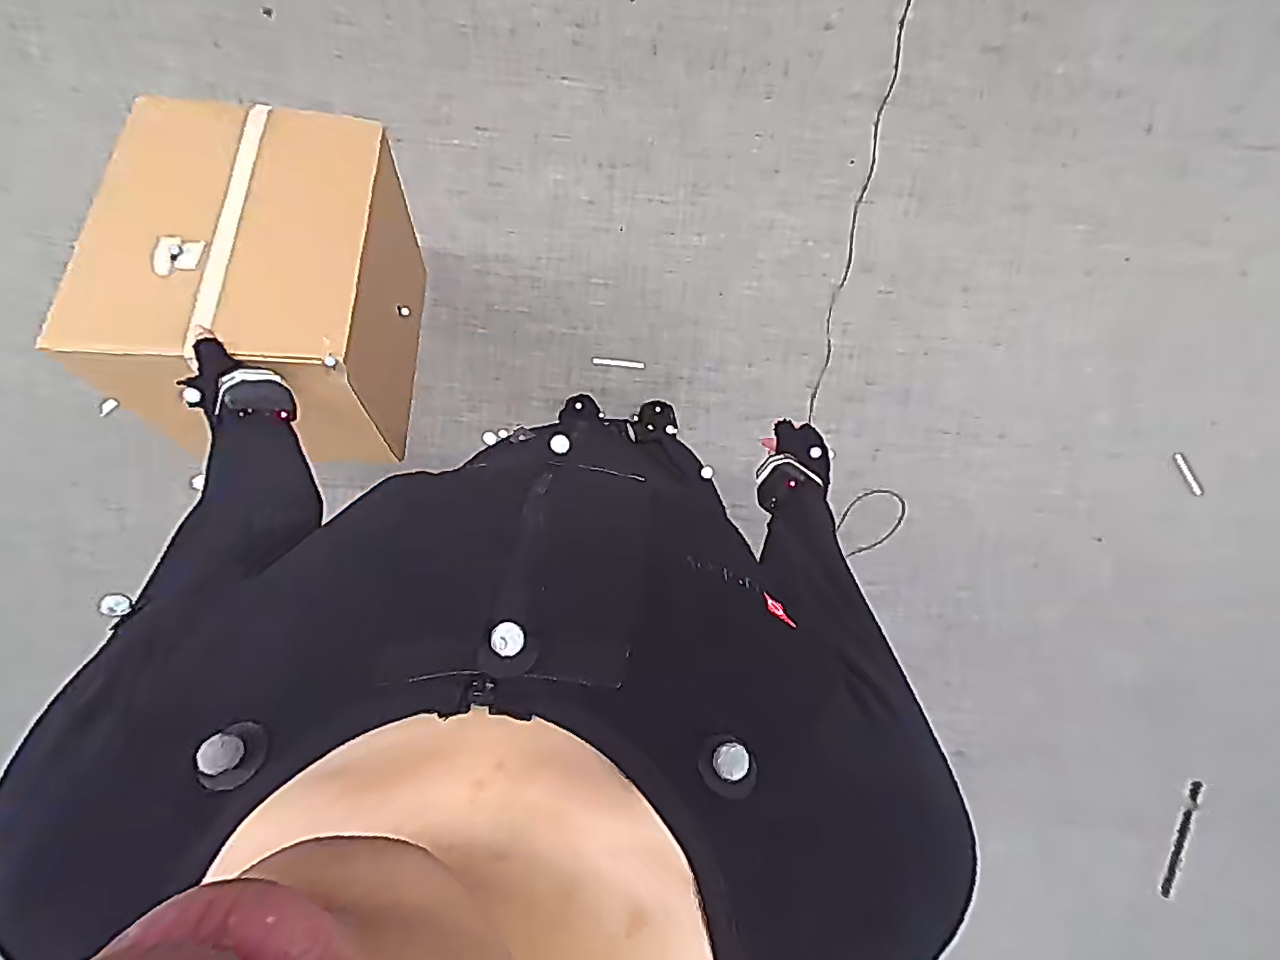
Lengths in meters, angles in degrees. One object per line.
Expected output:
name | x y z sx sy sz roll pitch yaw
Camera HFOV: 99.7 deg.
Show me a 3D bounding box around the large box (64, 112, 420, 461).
large box | -0.541 -0.271 0.840 0.320 0.320 0.408 0 70 -9
